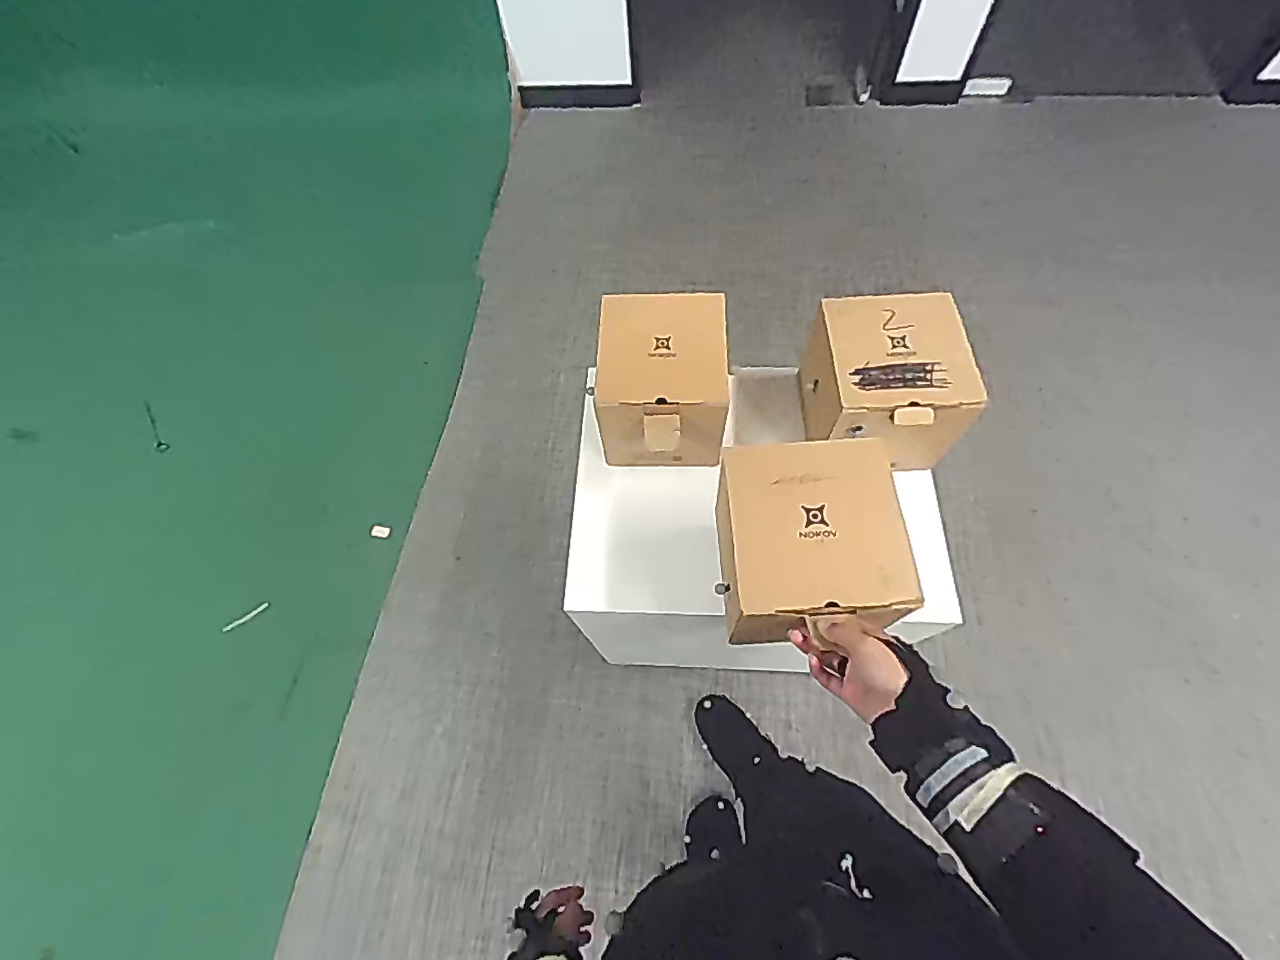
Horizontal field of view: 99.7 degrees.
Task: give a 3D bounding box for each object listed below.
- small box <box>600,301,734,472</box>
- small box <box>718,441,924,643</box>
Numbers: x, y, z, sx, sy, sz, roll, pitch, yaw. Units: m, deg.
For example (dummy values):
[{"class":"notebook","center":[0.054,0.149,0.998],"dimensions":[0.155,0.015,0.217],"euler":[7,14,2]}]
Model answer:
[{"class":"small box","center":[0.038,-0.127,0.758],"dimensions":[0.168,0.176,0.179],"euler":[0,66,3]},{"class":"small box","center":[0.177,0.078,0.592],"dimensions":[0.168,0.176,0.179],"euler":[-4,63,3]}]
